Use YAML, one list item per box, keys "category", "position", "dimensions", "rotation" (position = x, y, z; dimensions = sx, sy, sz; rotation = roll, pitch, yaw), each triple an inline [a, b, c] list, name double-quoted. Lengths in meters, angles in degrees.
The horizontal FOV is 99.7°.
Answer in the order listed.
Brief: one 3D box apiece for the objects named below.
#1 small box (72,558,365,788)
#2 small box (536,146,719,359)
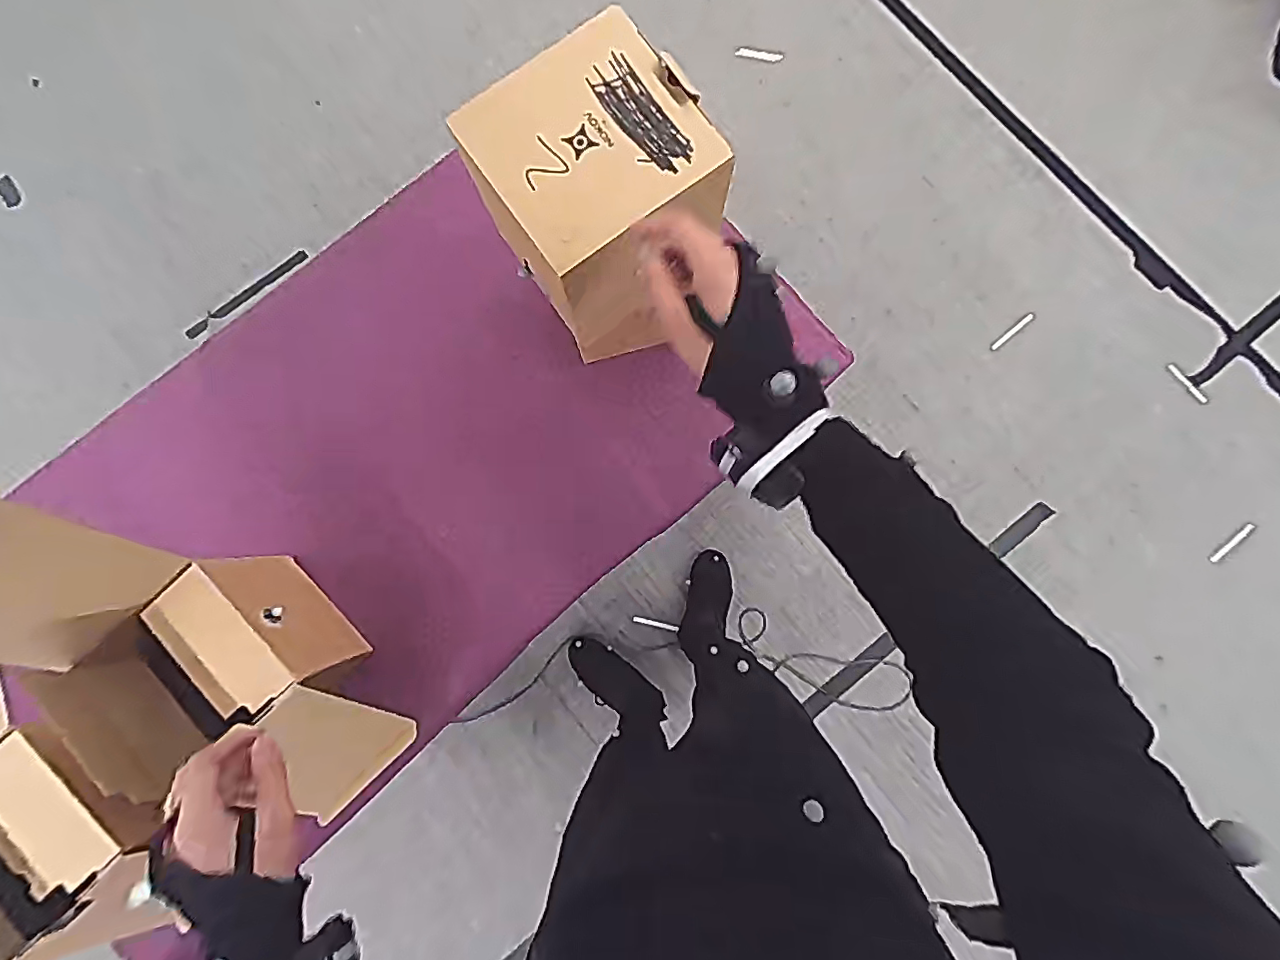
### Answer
- category: "small box"
  position: [-0.470, 0.204, 0.636]
  dimensions: [0.168, 0.176, 0.179]
  rotation: [-43, 85, -4]
- category: "small box"
  position: [-0.015, -0.269, 0.677]
  dimensions: [0.179, 0.176, 0.168]
  rotation: [-14, 84, -1]
